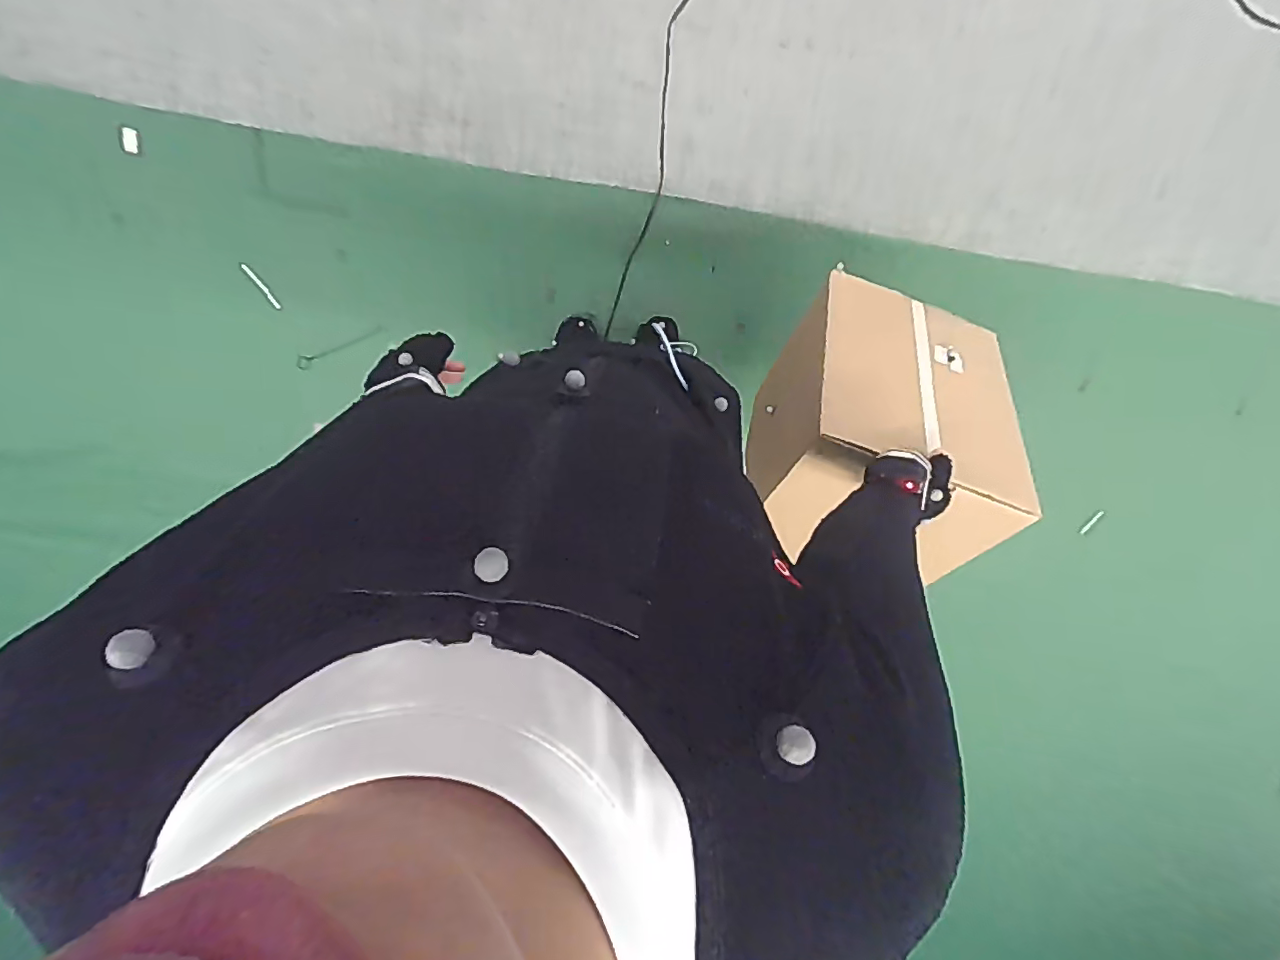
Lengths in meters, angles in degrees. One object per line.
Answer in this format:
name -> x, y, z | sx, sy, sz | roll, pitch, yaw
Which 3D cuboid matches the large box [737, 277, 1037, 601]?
large box -> 0.383, -0.066, 0.932 | 0.320, 0.408, 0.320 | 21, 142, -3
